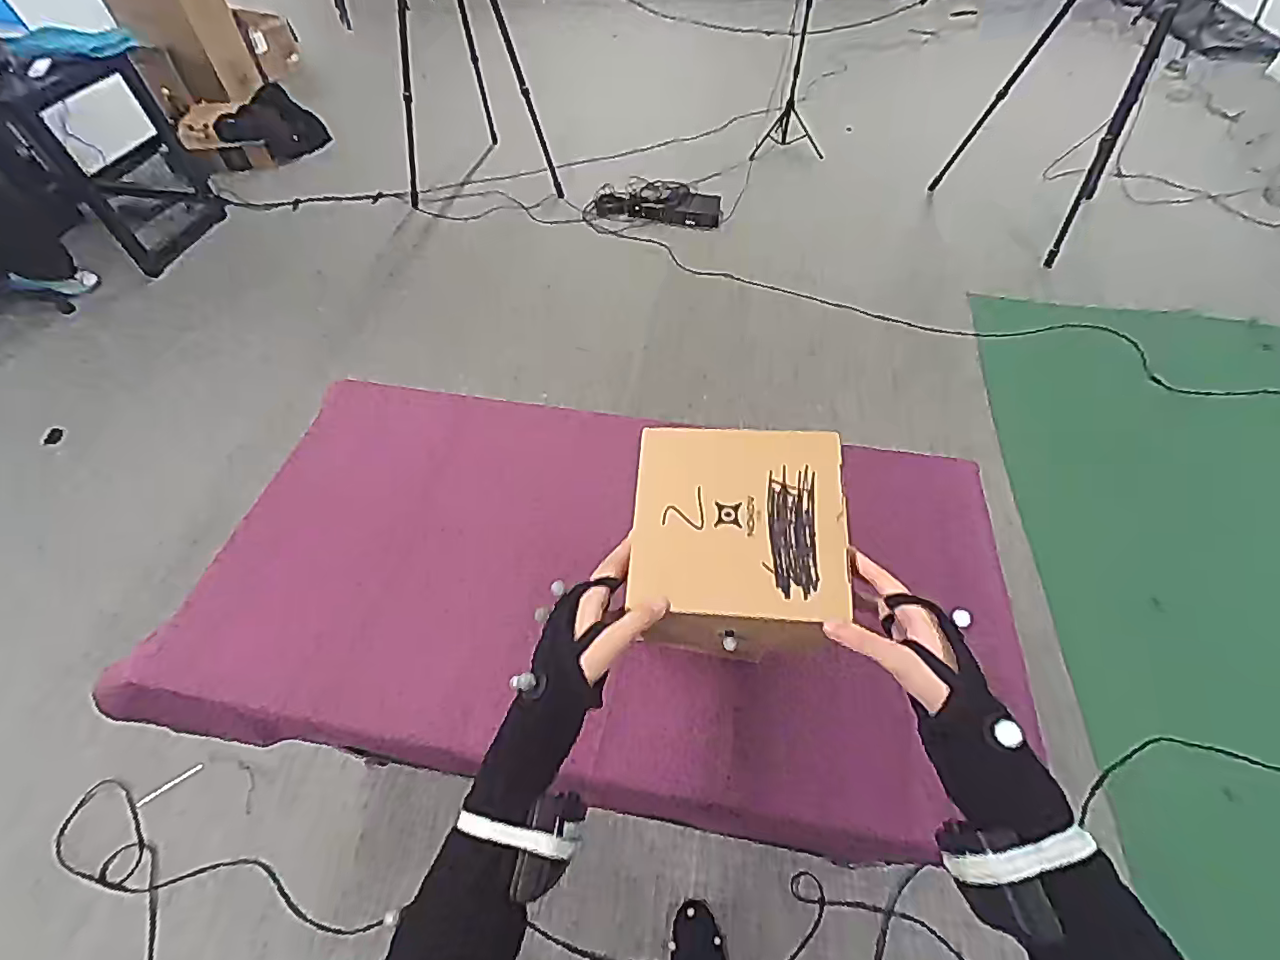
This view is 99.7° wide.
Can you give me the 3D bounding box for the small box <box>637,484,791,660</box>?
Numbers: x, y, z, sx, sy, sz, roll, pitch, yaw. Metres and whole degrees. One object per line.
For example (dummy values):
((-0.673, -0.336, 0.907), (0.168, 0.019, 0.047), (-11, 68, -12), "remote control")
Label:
((0.097, 0.131, 0.739), (0.179, 0.176, 0.168), (9, 54, 7), "small box")
